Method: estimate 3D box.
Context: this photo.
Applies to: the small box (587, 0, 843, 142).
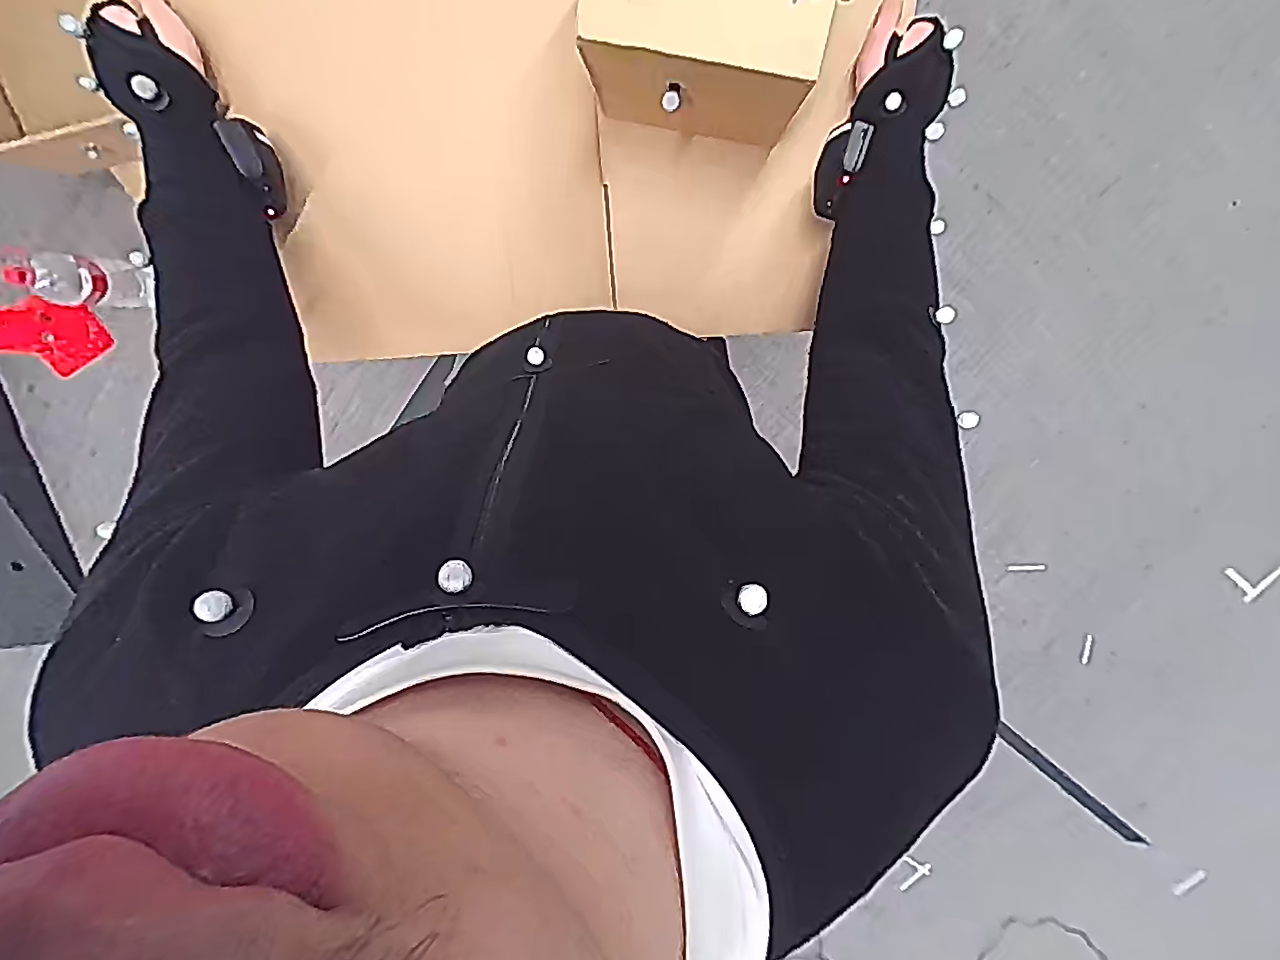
[{"bbox_3d":[0.067,-0.399,0.439,0.179,0.176,0.168,11,109,1],"label":"small box"}]
